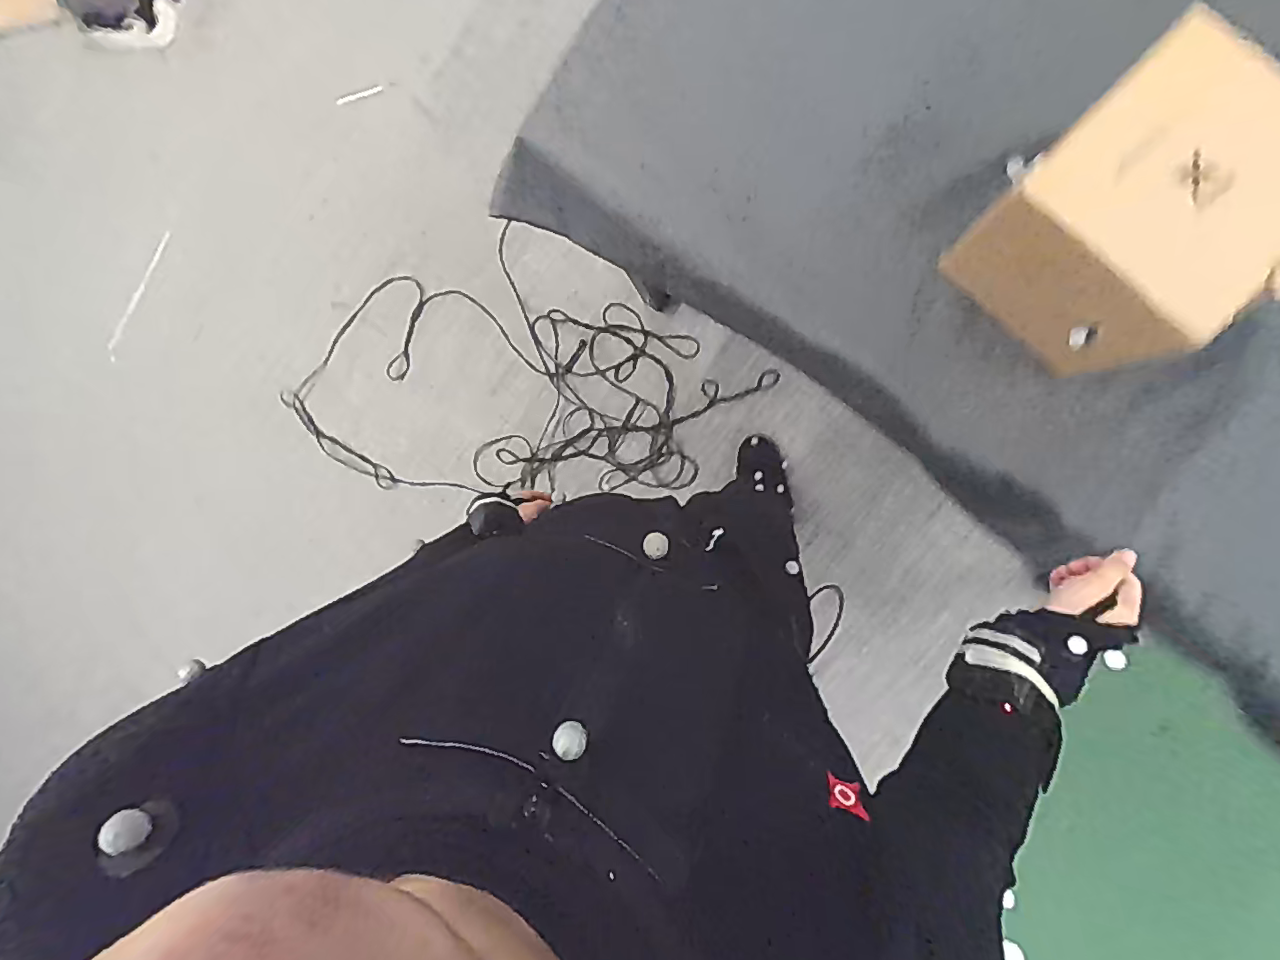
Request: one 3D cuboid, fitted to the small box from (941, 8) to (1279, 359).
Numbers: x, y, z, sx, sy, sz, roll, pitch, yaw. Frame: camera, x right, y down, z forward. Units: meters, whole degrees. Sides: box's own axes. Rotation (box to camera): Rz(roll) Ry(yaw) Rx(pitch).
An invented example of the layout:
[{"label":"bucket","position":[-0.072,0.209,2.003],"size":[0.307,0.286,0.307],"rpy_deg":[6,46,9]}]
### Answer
[{"label":"small box","position":[0.409,-0.223,0.465],"size":[0.179,0.176,0.168],"rpy_deg":[44,98,6]}]
